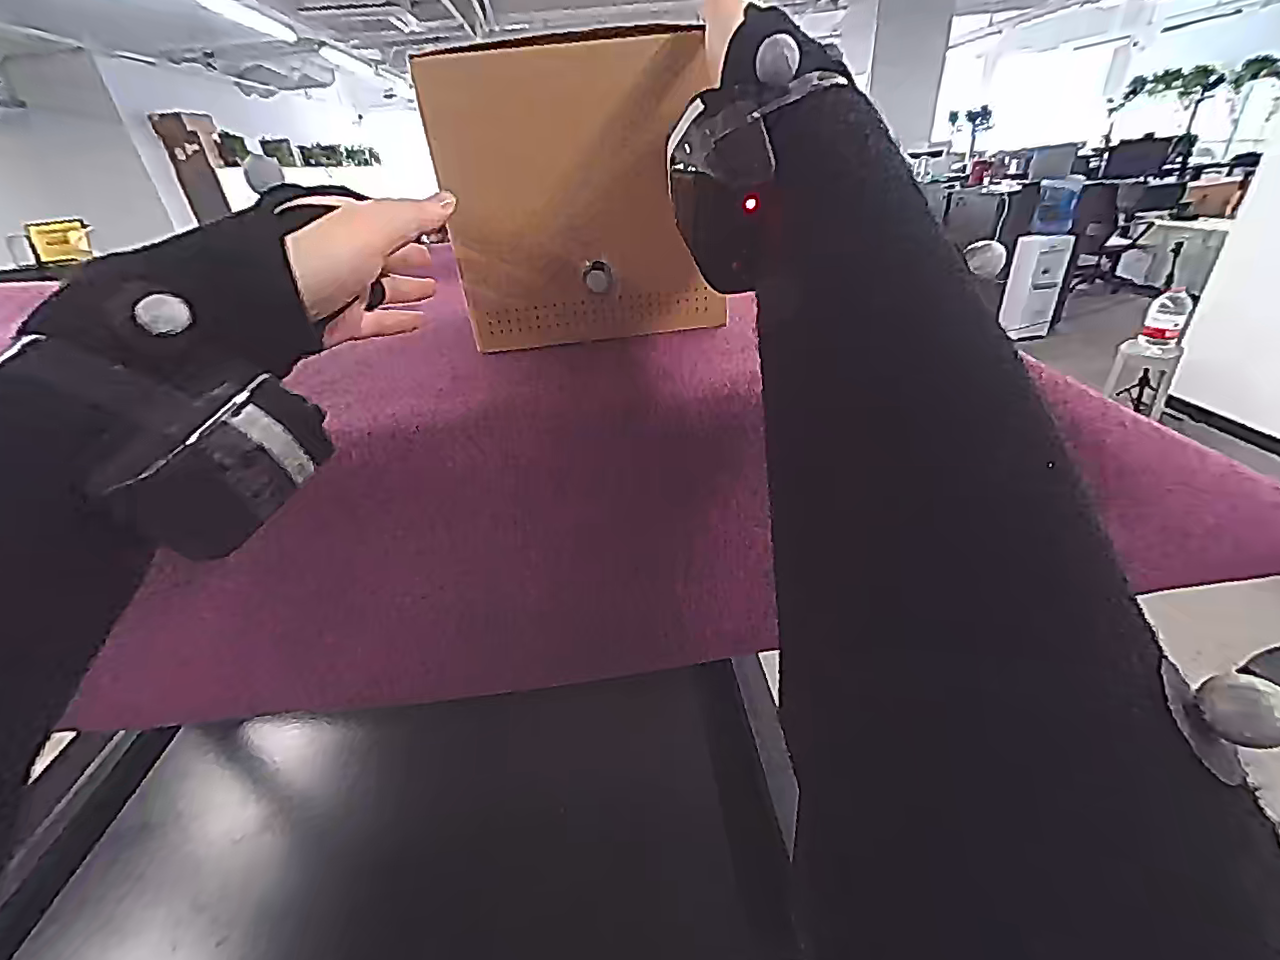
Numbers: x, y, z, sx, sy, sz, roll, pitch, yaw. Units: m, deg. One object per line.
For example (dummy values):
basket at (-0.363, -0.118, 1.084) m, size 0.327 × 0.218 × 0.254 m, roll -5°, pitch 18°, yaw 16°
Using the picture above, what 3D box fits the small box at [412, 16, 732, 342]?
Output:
small box at (-0.037, -0.209, 0.398) m, size 0.179 × 0.176 × 0.168 m, roll -7°, pitch 29°, yaw -2°
